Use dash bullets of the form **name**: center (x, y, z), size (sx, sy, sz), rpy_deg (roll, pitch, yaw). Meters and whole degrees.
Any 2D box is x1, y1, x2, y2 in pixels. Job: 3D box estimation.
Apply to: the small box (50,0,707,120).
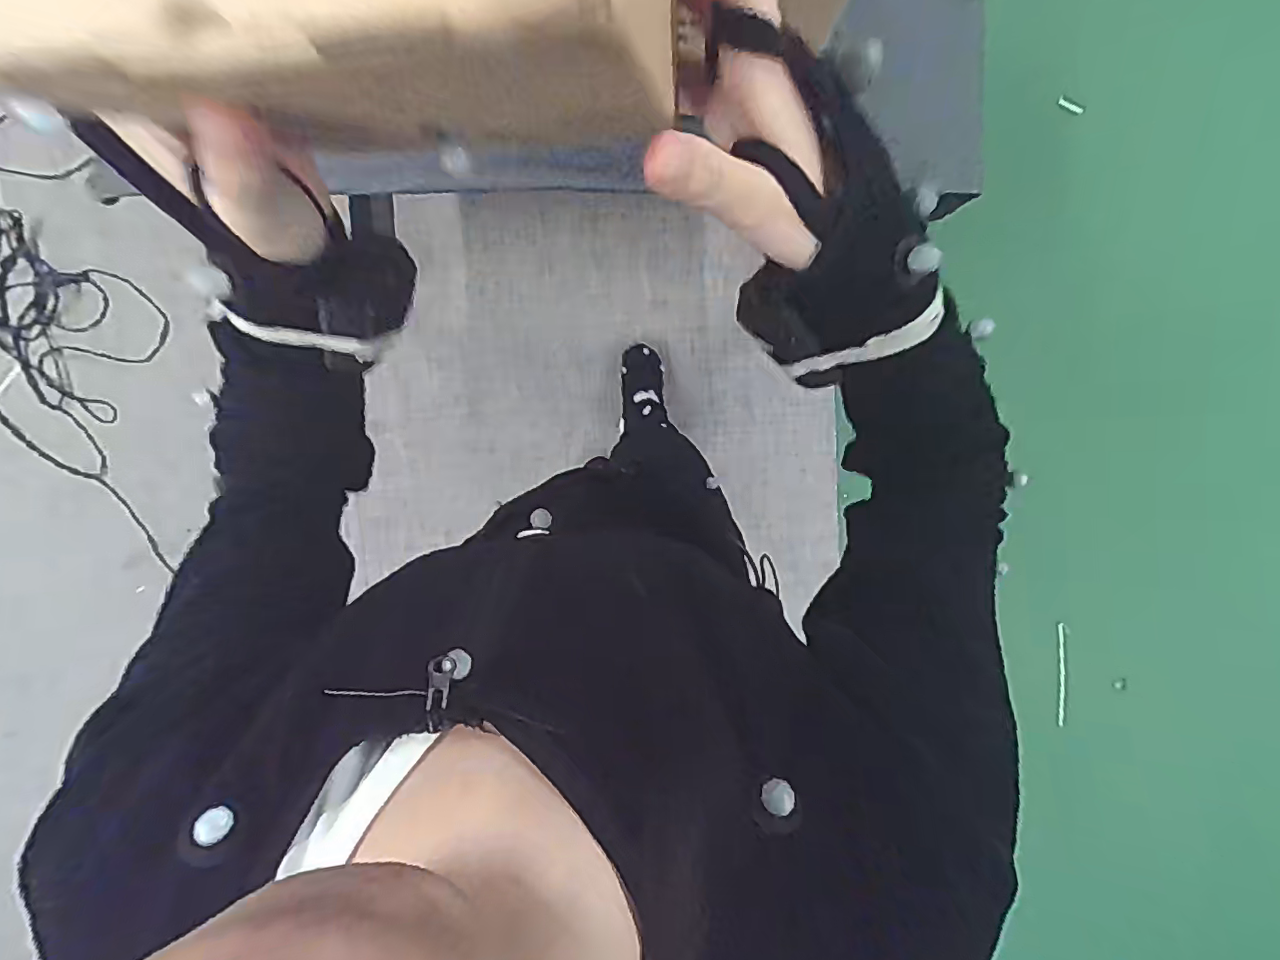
- **small box**: center (-0.063, -0.212, 0.139), size (0.168, 0.176, 0.179), rpy_deg (2, 116, 7)
